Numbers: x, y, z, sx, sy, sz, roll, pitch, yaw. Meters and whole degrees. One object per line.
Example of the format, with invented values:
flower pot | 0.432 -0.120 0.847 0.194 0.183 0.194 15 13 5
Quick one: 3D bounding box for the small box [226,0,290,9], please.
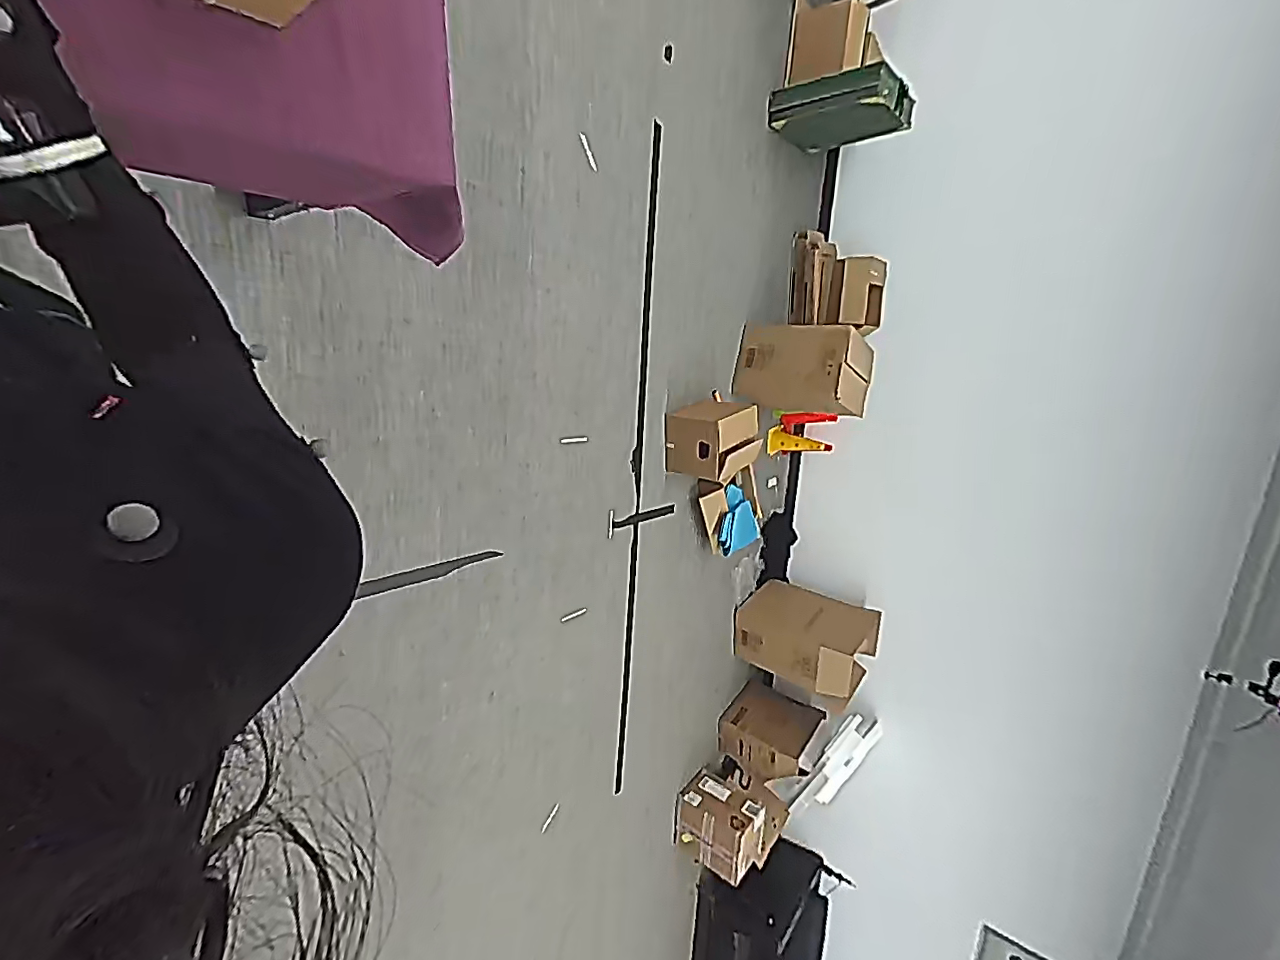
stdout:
small box | -0.427 -0.601 0.520 0.179 0.176 0.168 -20 116 -50
